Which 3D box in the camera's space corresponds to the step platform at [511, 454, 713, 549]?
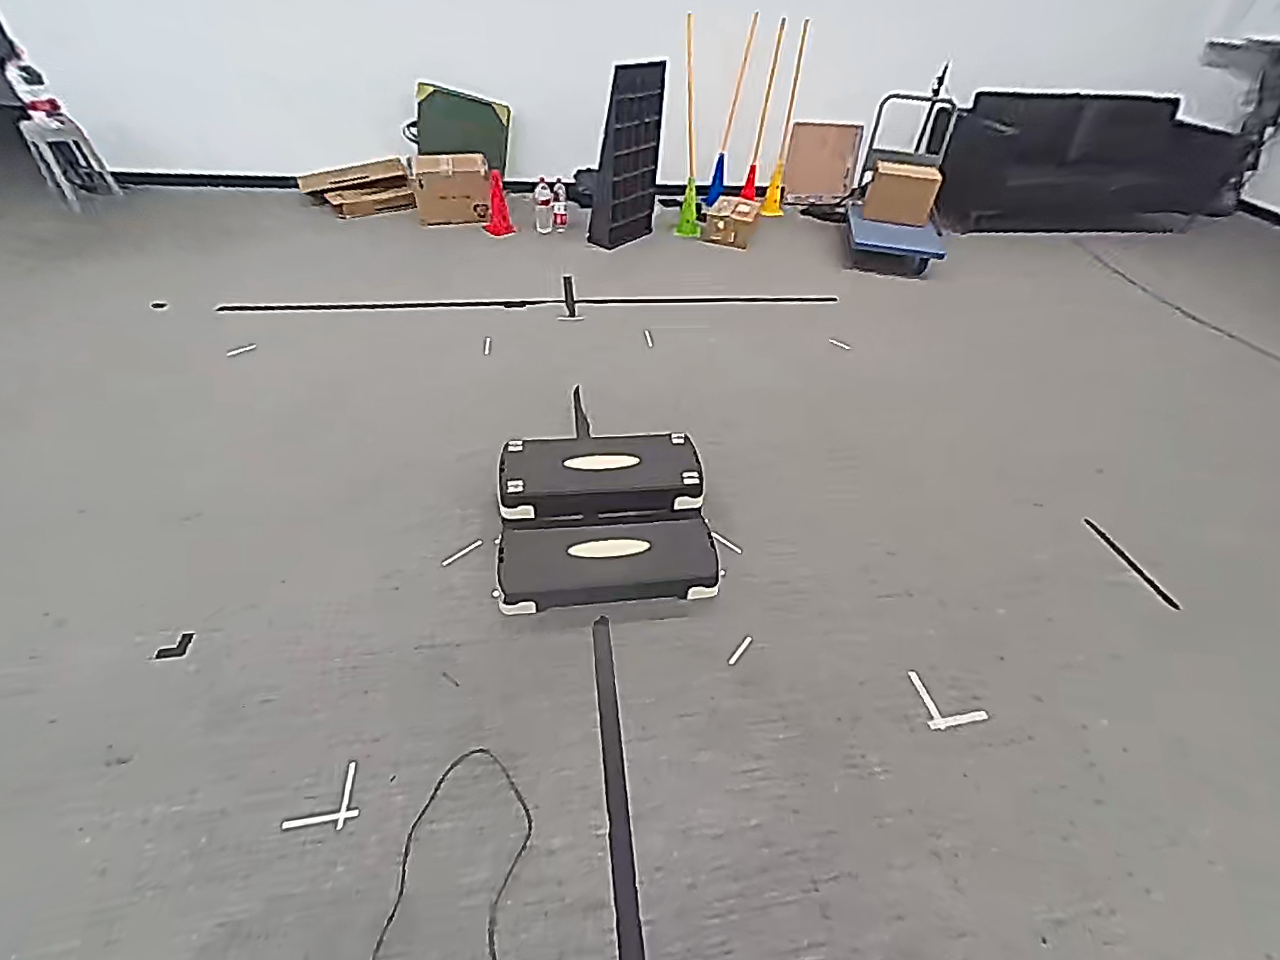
[{"bbox_3d":[-0.095,0.065,1.860,0.684,0.204,0.286,0,42,-5],"label":"step platform"}]
